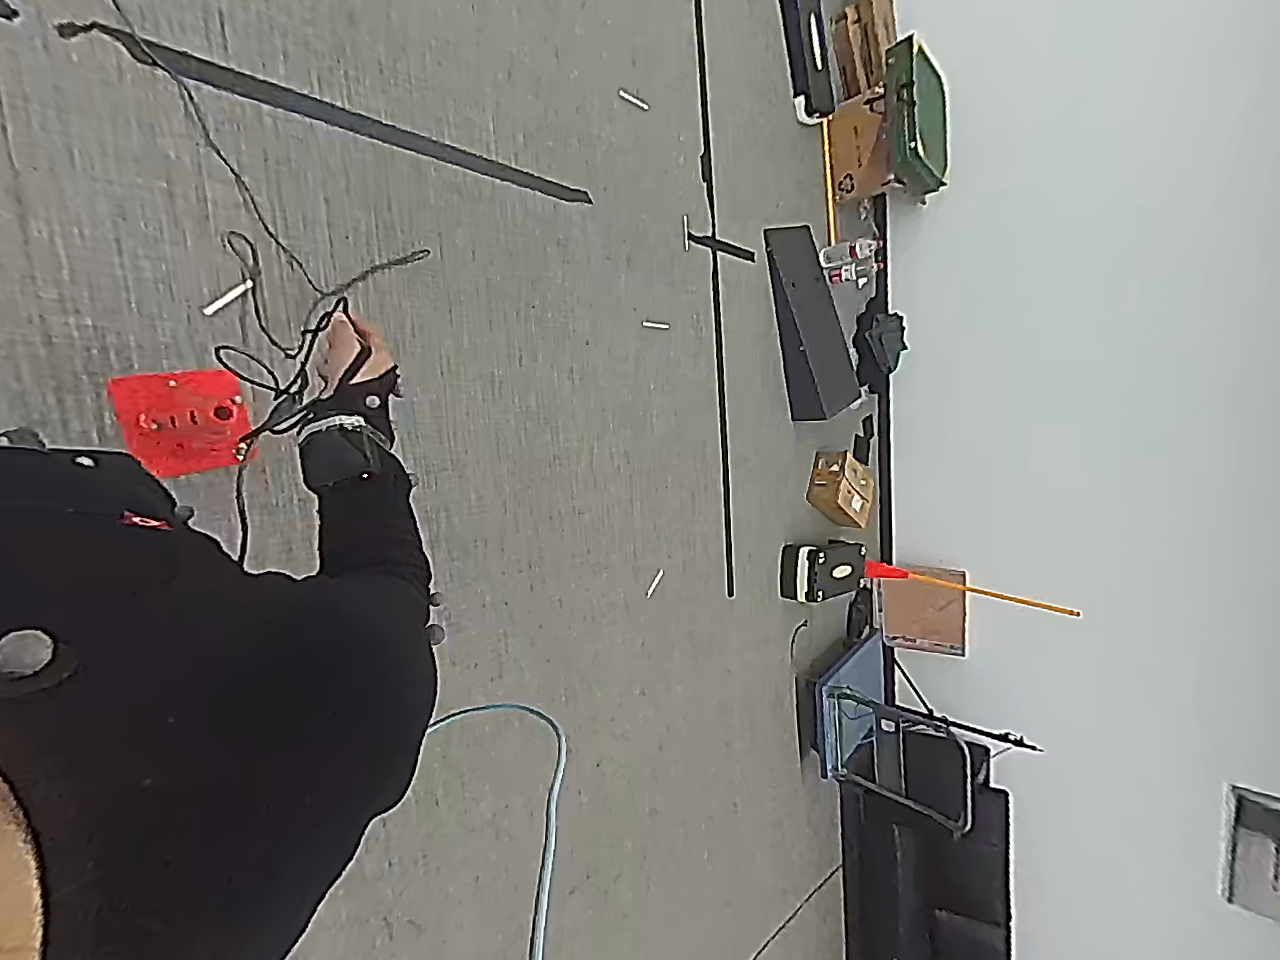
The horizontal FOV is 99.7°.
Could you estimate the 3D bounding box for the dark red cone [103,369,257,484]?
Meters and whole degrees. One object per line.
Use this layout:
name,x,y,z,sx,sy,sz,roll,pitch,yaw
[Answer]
dark red cone,-0.760,-0.104,0.934,0.202,0.394,0.201,-21,106,-45
